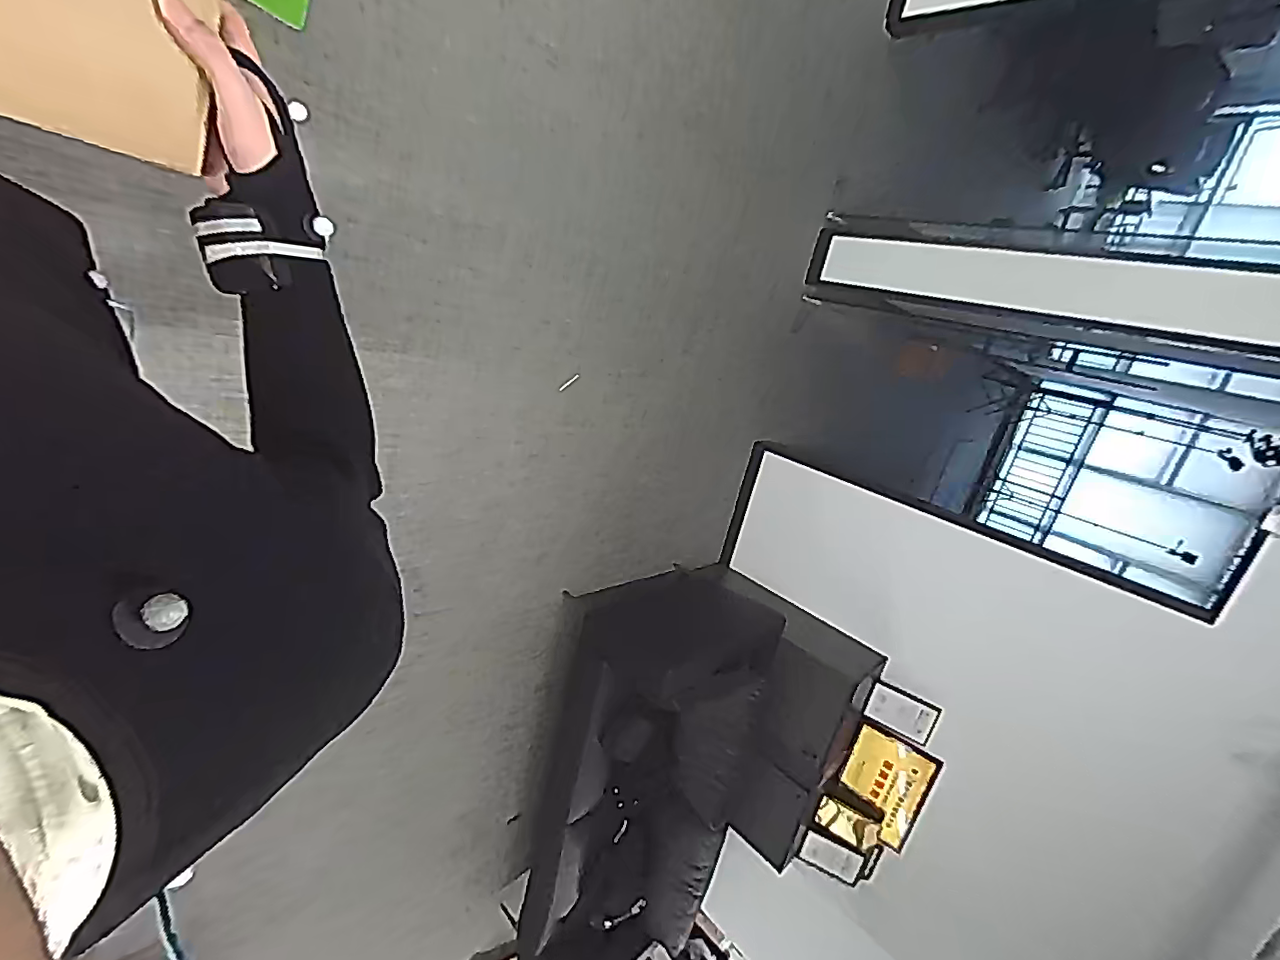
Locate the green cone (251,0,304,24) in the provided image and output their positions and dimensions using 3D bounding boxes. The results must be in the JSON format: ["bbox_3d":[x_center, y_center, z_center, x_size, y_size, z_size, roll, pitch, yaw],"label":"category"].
[{"bbox_3d":[-0.661,-1.025,0.984,0.200,0.368,0.202,4,107,-49],"label":"green cone"}]
